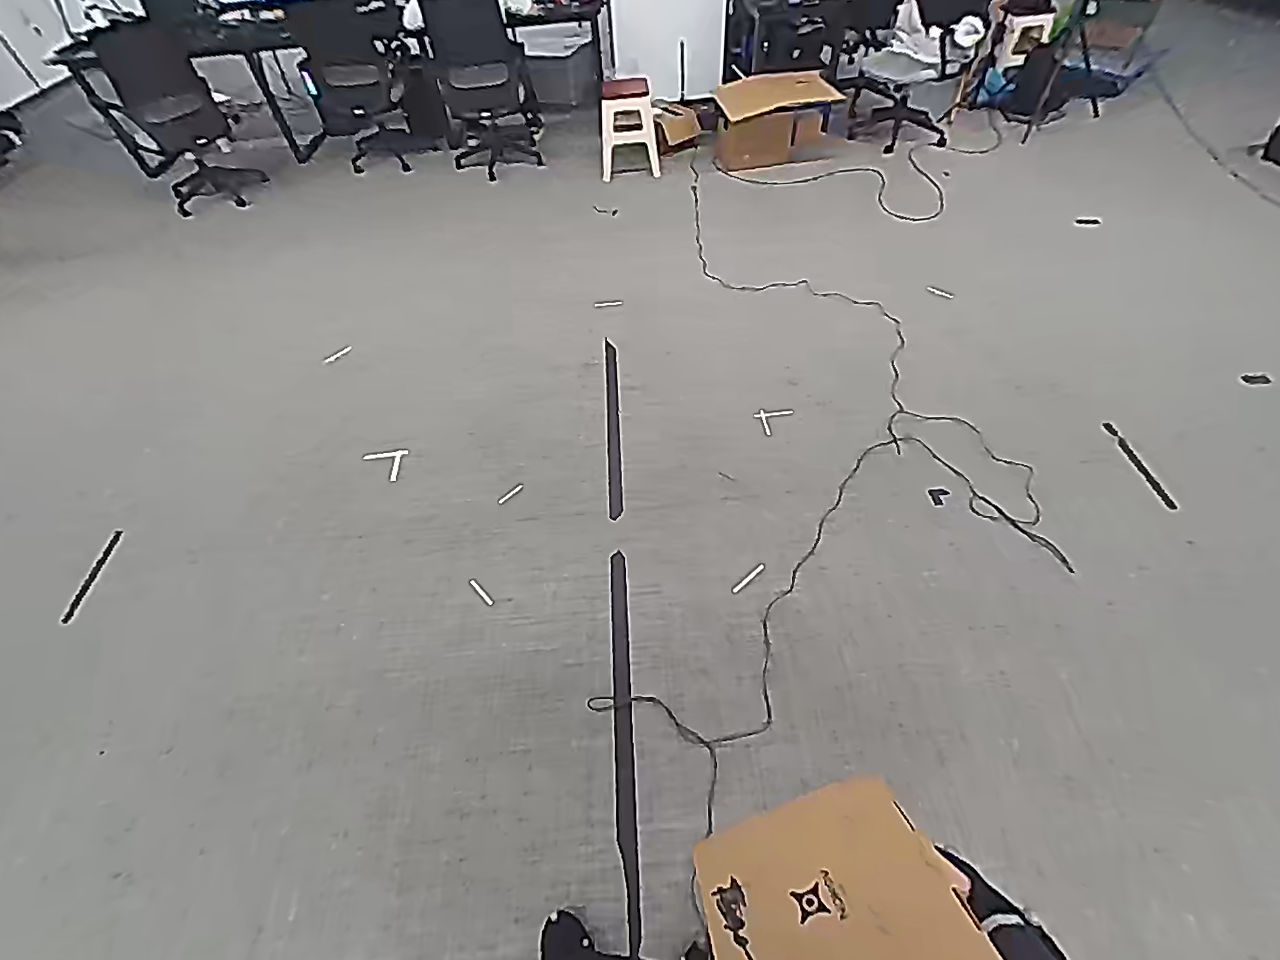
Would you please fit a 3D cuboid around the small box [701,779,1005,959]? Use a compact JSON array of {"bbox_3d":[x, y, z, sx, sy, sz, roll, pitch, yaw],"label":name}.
[{"bbox_3d":[0.168,0.386,0.421,0.179,0.176,0.168,-21,14,0],"label":"small box"}]
